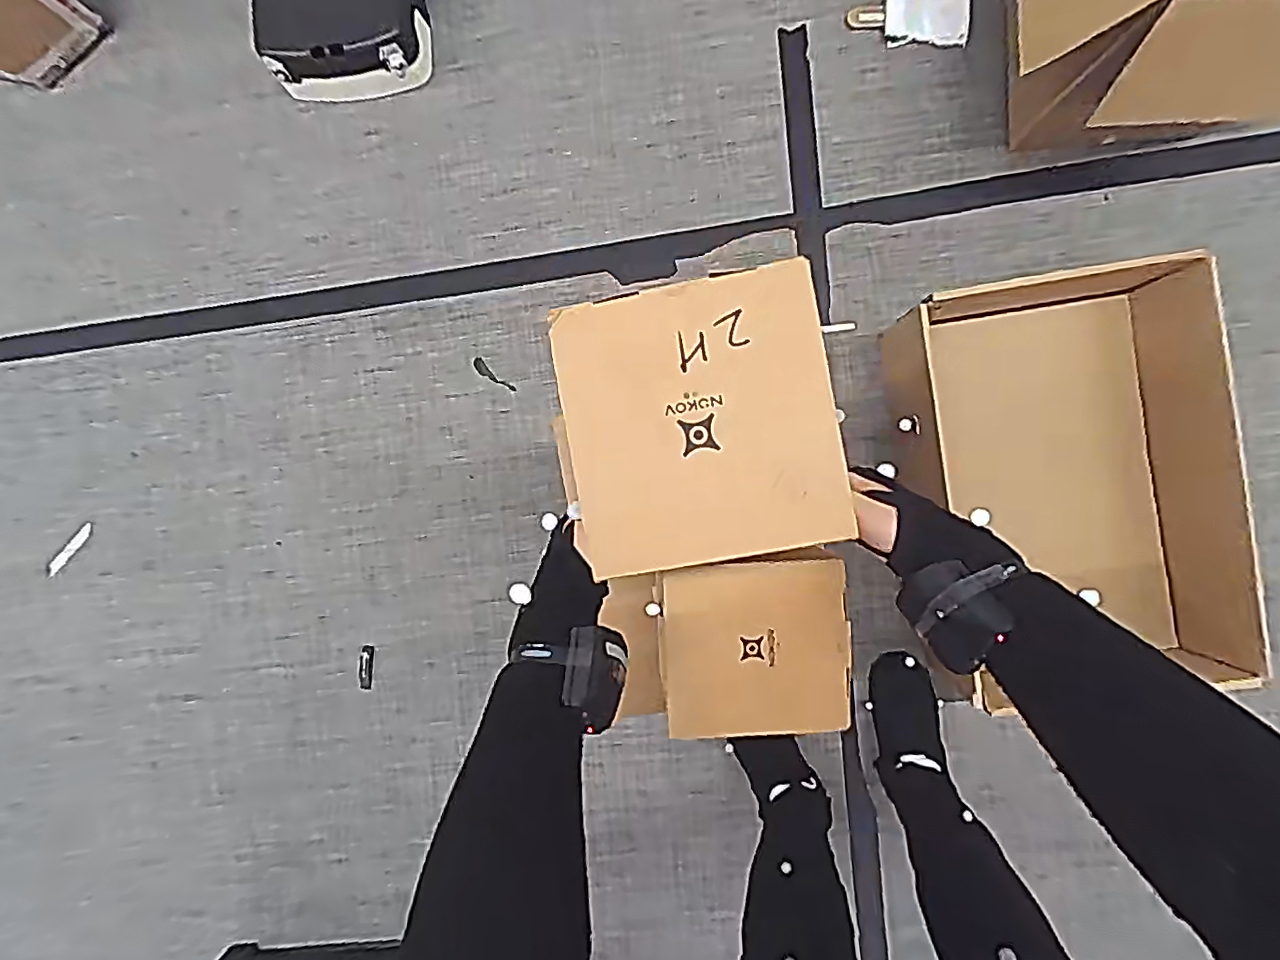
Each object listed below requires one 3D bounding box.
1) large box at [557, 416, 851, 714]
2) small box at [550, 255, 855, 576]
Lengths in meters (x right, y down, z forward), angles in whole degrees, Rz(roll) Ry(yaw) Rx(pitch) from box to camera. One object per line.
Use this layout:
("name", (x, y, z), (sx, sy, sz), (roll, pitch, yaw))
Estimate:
("large box", (0.088, 0.077, 0.835), (0.320, 0.320, 0.408), (-11, 91, 5))
("small box", (0.044, -0.037, 0.410), (0.168, 0.176, 0.179), (-10, 88, 5))
